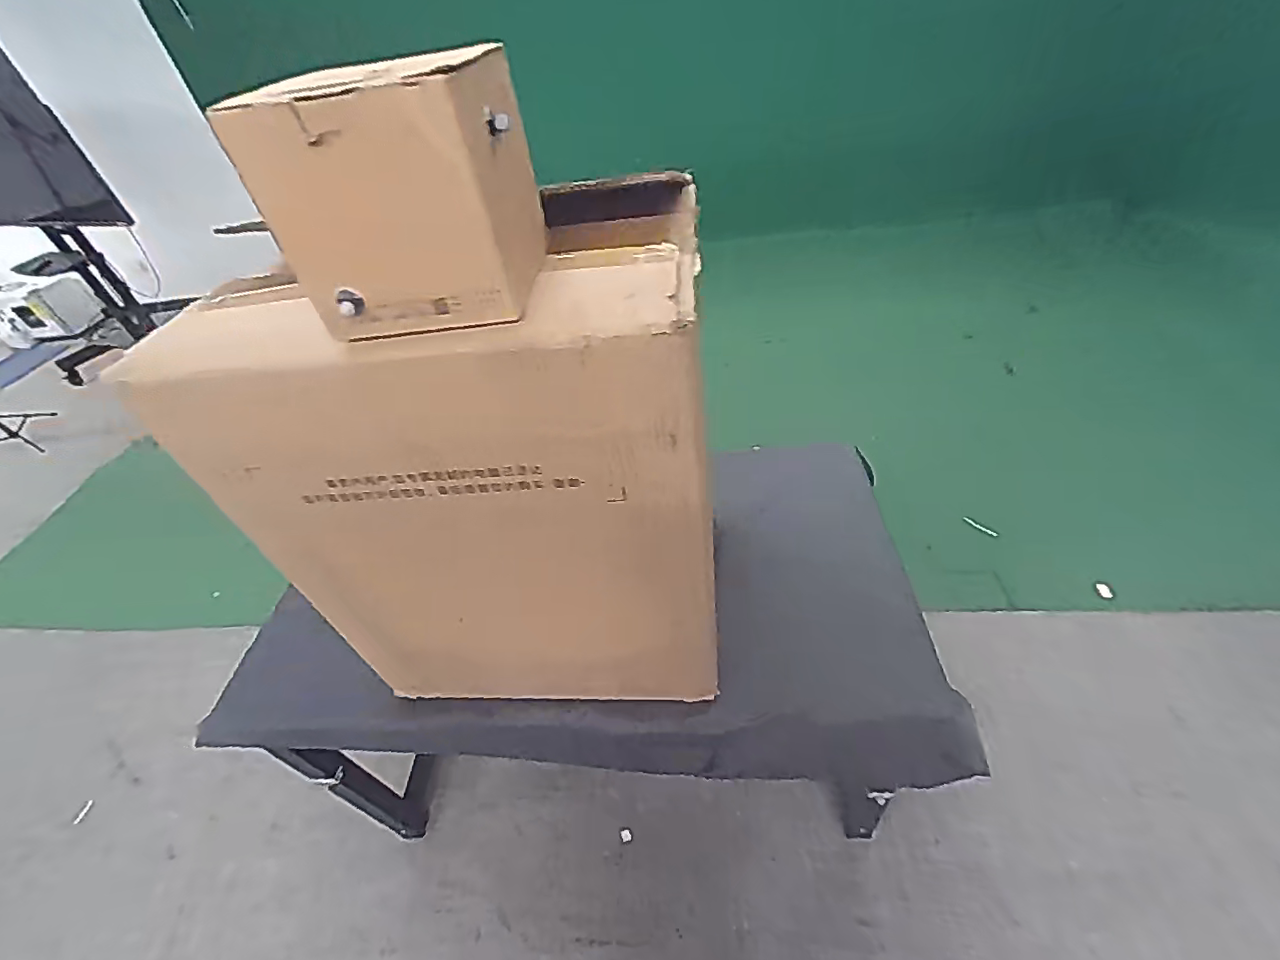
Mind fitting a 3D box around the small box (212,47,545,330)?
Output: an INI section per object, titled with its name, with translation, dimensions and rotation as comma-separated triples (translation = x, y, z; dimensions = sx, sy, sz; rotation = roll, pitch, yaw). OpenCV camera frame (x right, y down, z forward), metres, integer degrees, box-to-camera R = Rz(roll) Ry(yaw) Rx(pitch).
[small box]
translation = -0.188, -0.239, 0.459
dimensions = 0.168, 0.176, 0.179
rotation = -4, 43, 6
